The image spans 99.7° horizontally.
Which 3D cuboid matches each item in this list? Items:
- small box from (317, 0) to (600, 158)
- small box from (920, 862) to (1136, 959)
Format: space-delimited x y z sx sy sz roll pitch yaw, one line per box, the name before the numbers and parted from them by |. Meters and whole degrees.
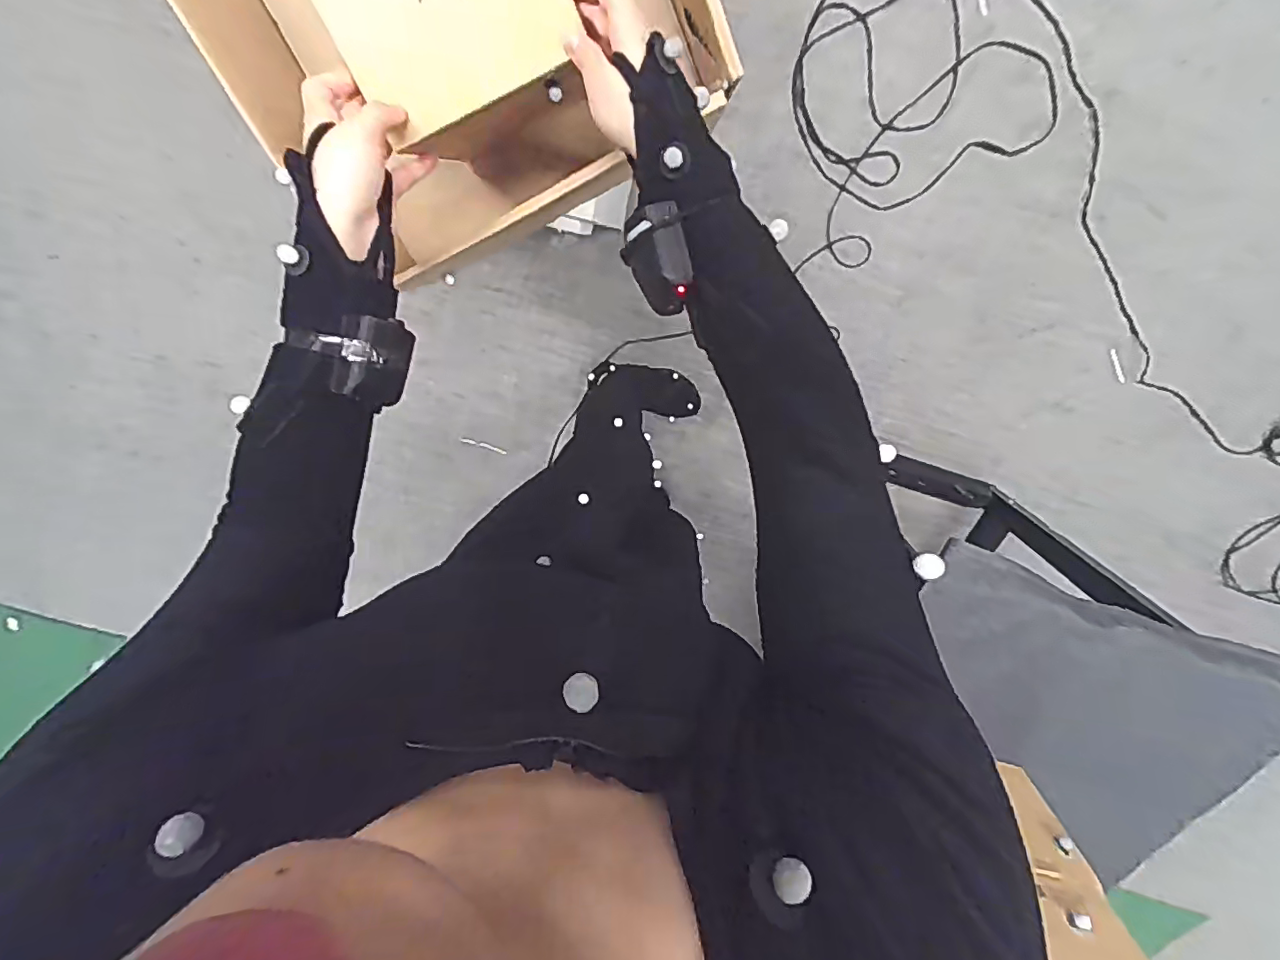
small box | -0.147 -0.398 0.459 0.179 0.176 0.168 -21 115 10
small box | 0.452 0.584 0.612 0.168 0.176 0.179 18 113 -6
